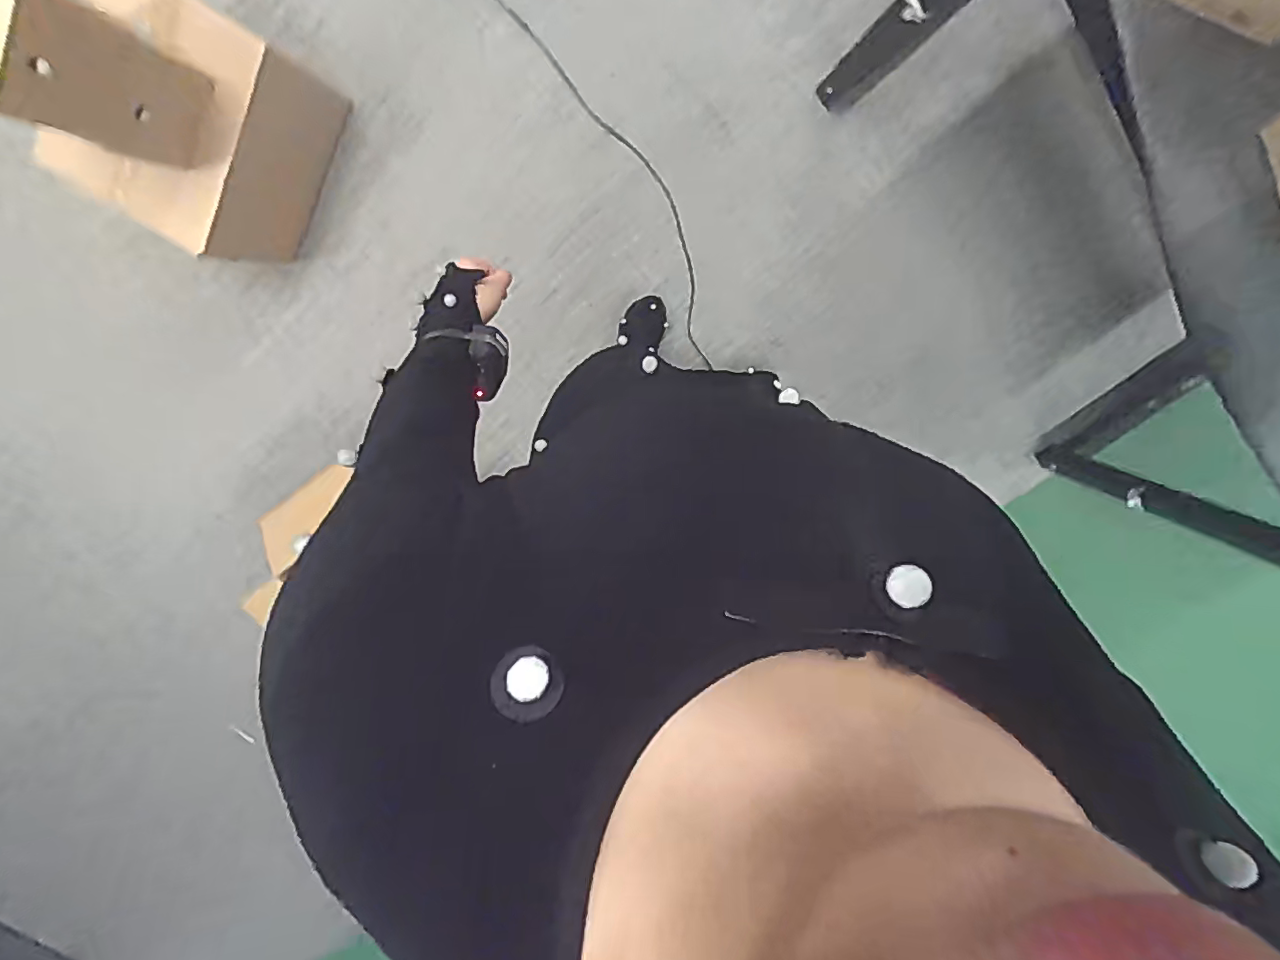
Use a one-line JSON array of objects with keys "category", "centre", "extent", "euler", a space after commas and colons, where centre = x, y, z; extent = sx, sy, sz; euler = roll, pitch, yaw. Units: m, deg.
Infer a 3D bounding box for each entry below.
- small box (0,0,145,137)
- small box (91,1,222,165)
[{"category": "small box", "centre": [-0.831, -0.610, 0.730], "extent": [0.168, 0.176, 0.179], "euler": [31, 107, -12]}, {"category": "small box", "centre": [-0.841, -0.655, 0.886], "extent": [0.168, 0.176, 0.179], "euler": [31, 106, -12]}]
